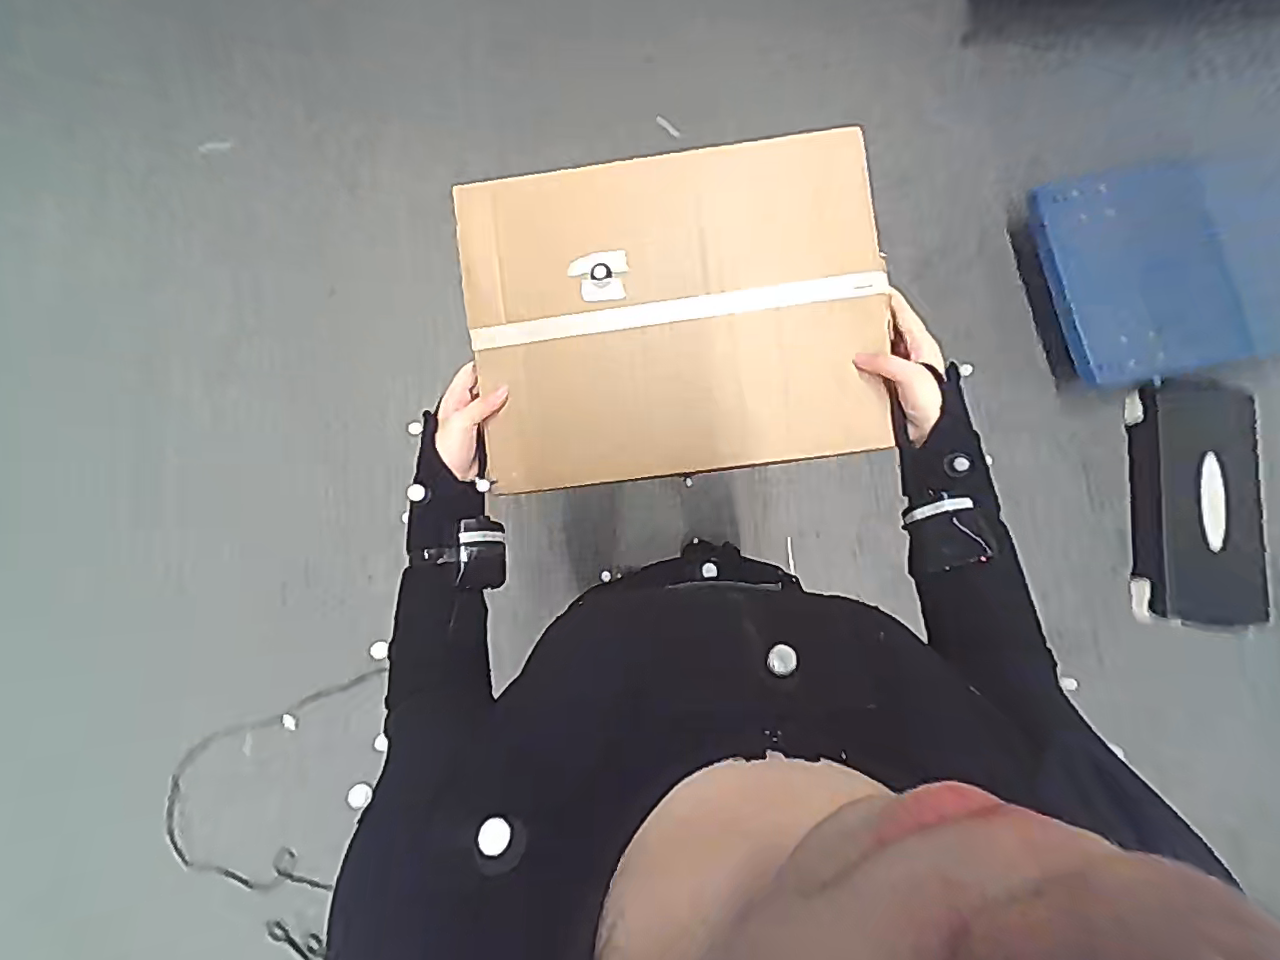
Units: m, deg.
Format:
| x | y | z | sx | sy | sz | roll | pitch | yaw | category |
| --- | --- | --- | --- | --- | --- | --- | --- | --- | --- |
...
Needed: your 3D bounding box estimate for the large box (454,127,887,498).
| x | y | z | sx | sy | sz | roll | pitch | yaw | category |
| --- | --- | --- | --- | --- | --- | --- | --- | --- | --- |
| 0.038 | -0.169 | 0.692 | 0.408 | 0.320 | 0.320 | -9 | 90 | 4 | large box |
